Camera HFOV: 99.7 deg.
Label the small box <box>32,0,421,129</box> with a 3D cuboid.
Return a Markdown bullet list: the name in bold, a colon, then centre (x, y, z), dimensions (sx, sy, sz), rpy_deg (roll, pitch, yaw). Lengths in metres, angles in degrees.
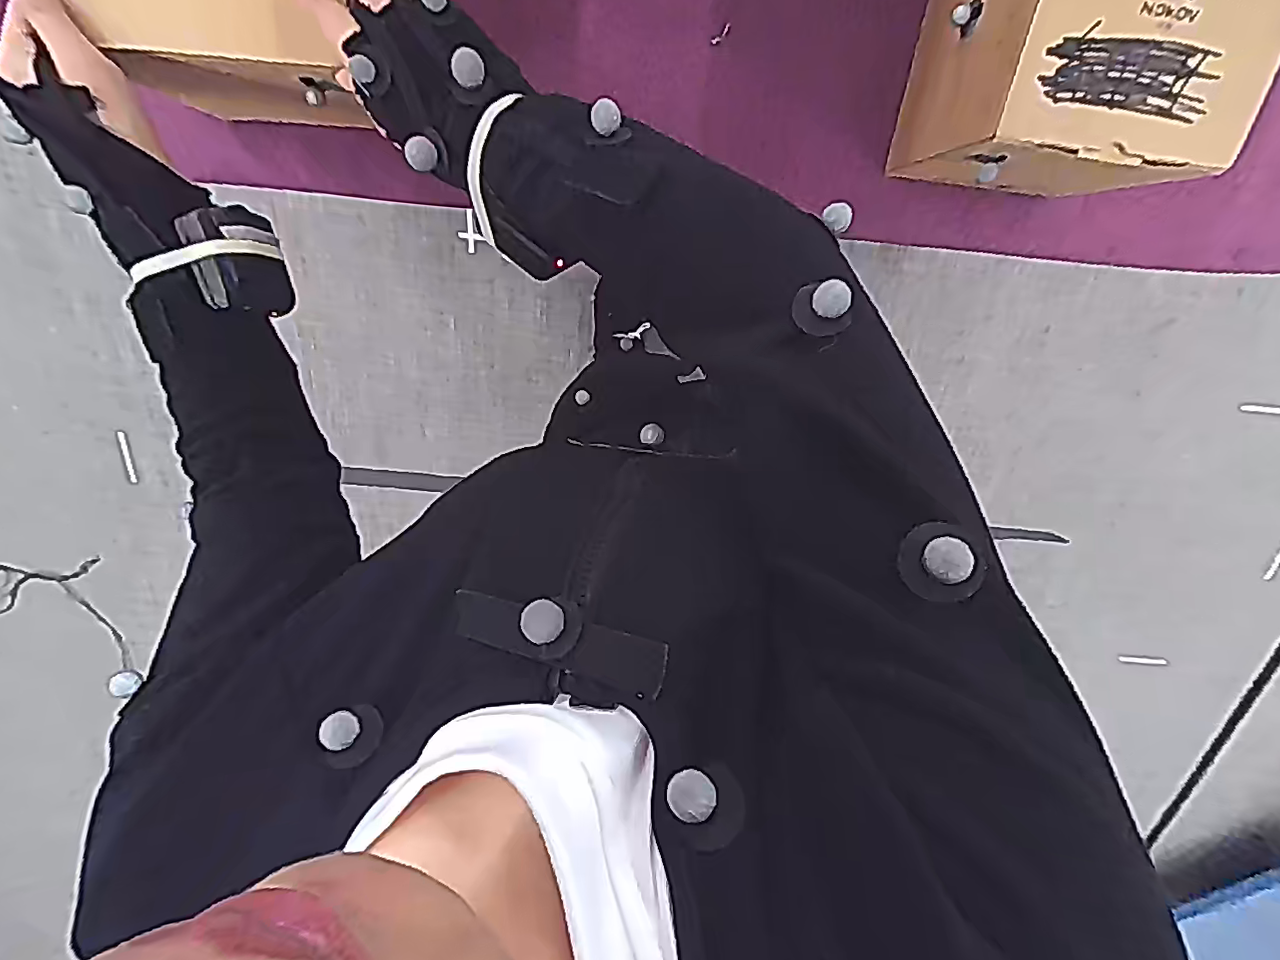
- **small box**: centre (-0.270, -0.359, 0.372), dimensions (0.179, 0.176, 0.168), rpy_deg (-2, 112, -8)
